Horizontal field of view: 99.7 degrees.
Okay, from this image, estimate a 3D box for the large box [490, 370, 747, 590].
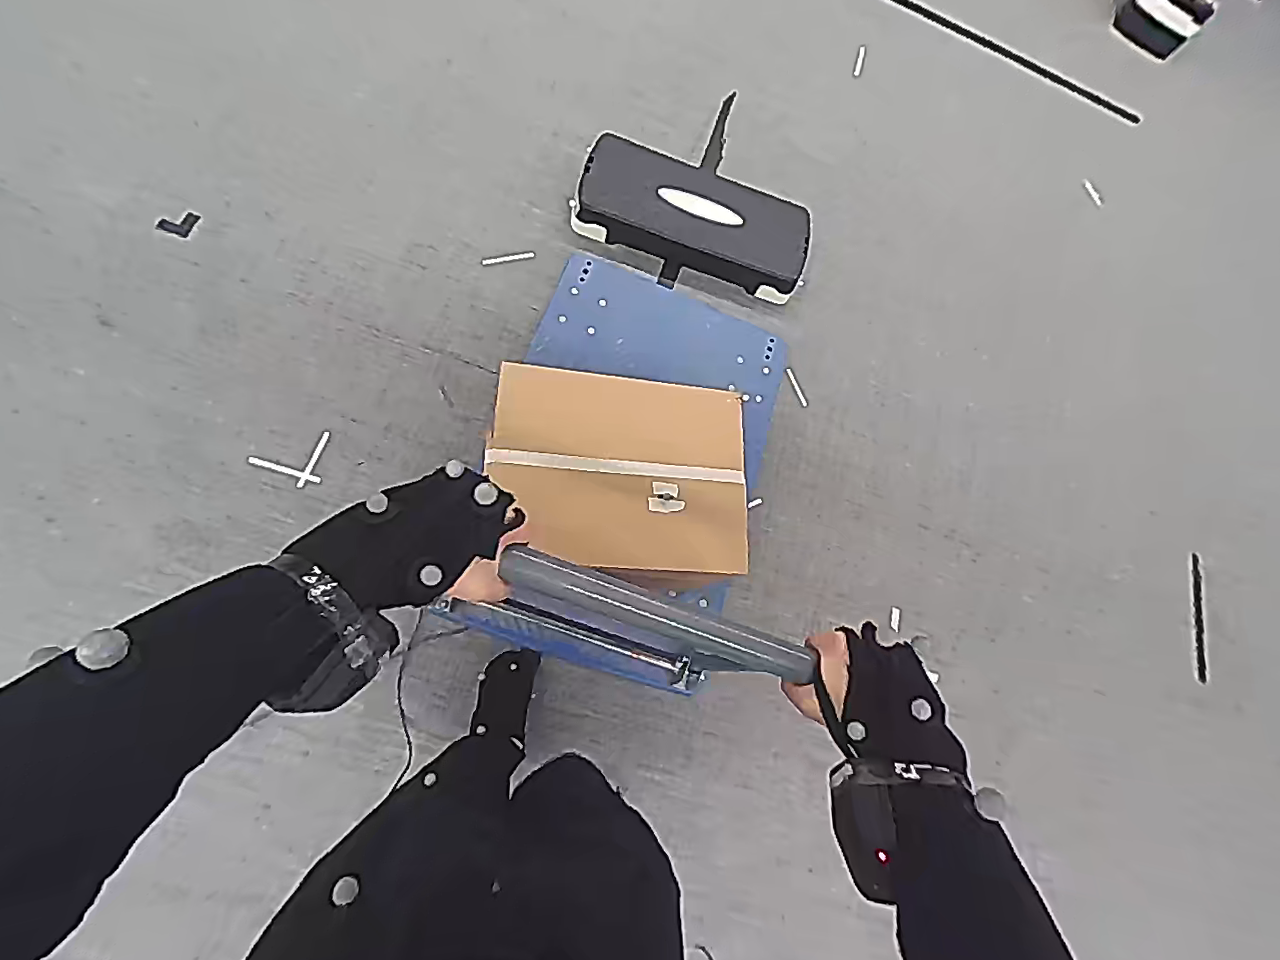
[{"bbox_3d":[-0.058,0.027,0.989,0.408,0.320,0.320,6,73,-13],"label":"large box"}]
